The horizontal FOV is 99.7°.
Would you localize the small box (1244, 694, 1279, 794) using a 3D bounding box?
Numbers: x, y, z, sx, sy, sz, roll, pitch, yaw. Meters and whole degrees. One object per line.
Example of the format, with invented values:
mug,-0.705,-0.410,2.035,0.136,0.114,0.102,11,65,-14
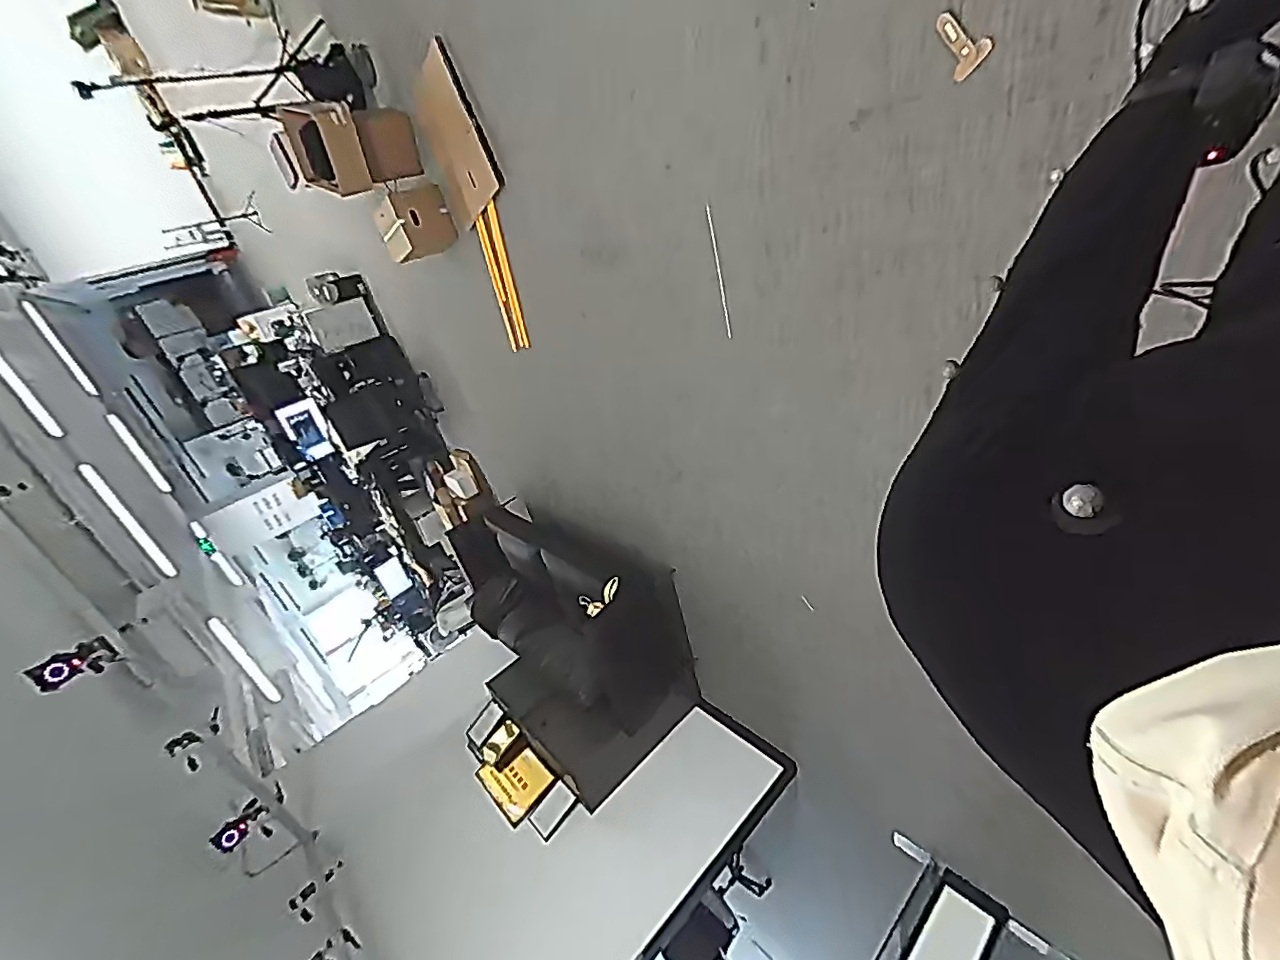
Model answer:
small box,1.618,0.663,1.303,0.168,0.176,0.179,21,134,45
